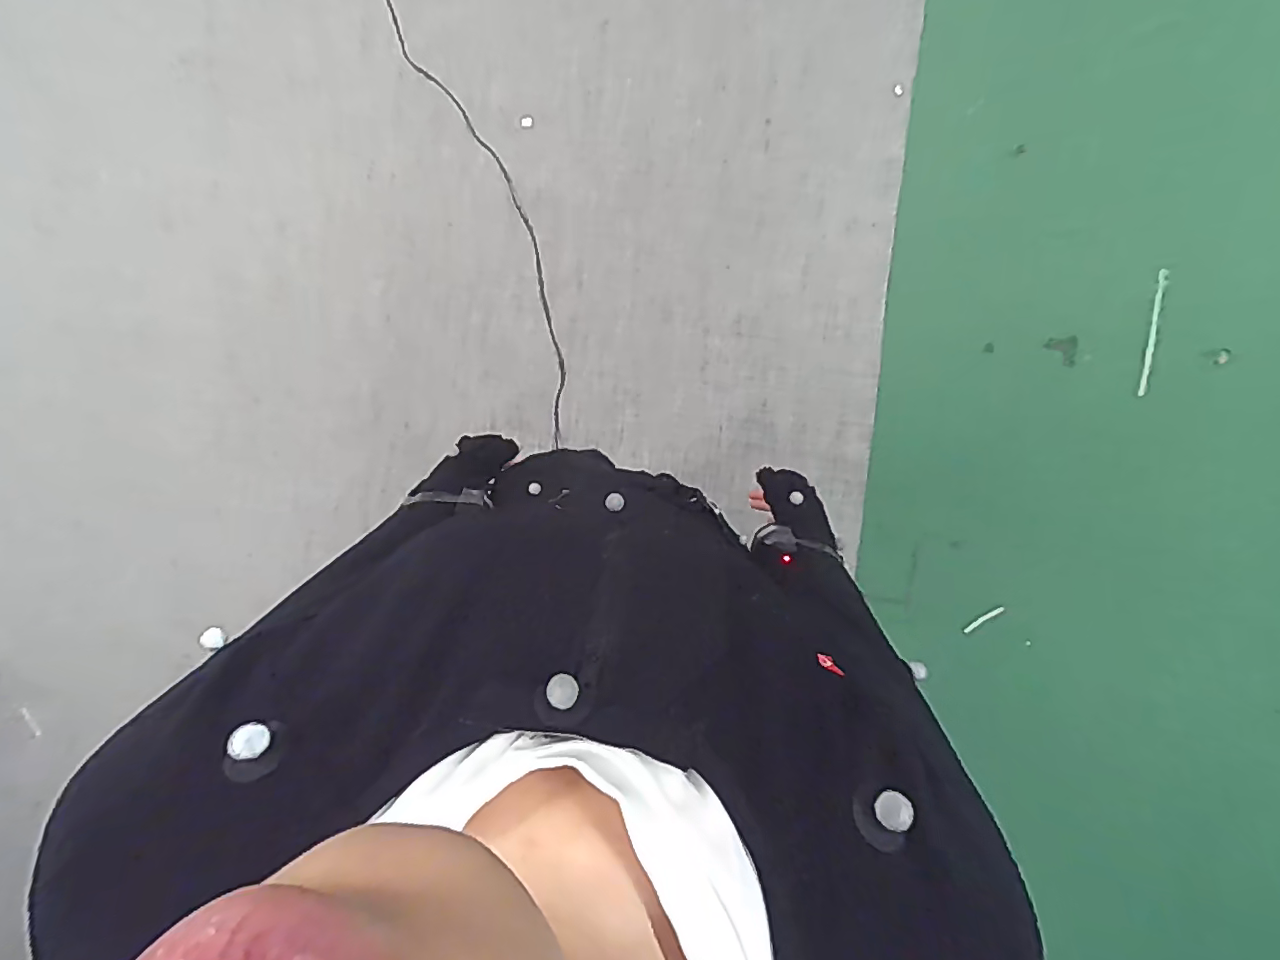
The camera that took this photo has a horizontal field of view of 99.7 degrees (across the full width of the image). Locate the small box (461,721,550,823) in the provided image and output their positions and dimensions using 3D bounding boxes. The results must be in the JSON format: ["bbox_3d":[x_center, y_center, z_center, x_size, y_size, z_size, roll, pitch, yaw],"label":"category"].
[{"bbox_3d":[-0.350,0.763,1.431,0.179,0.176,0.168,8,93,2],"label":"small box"}]
